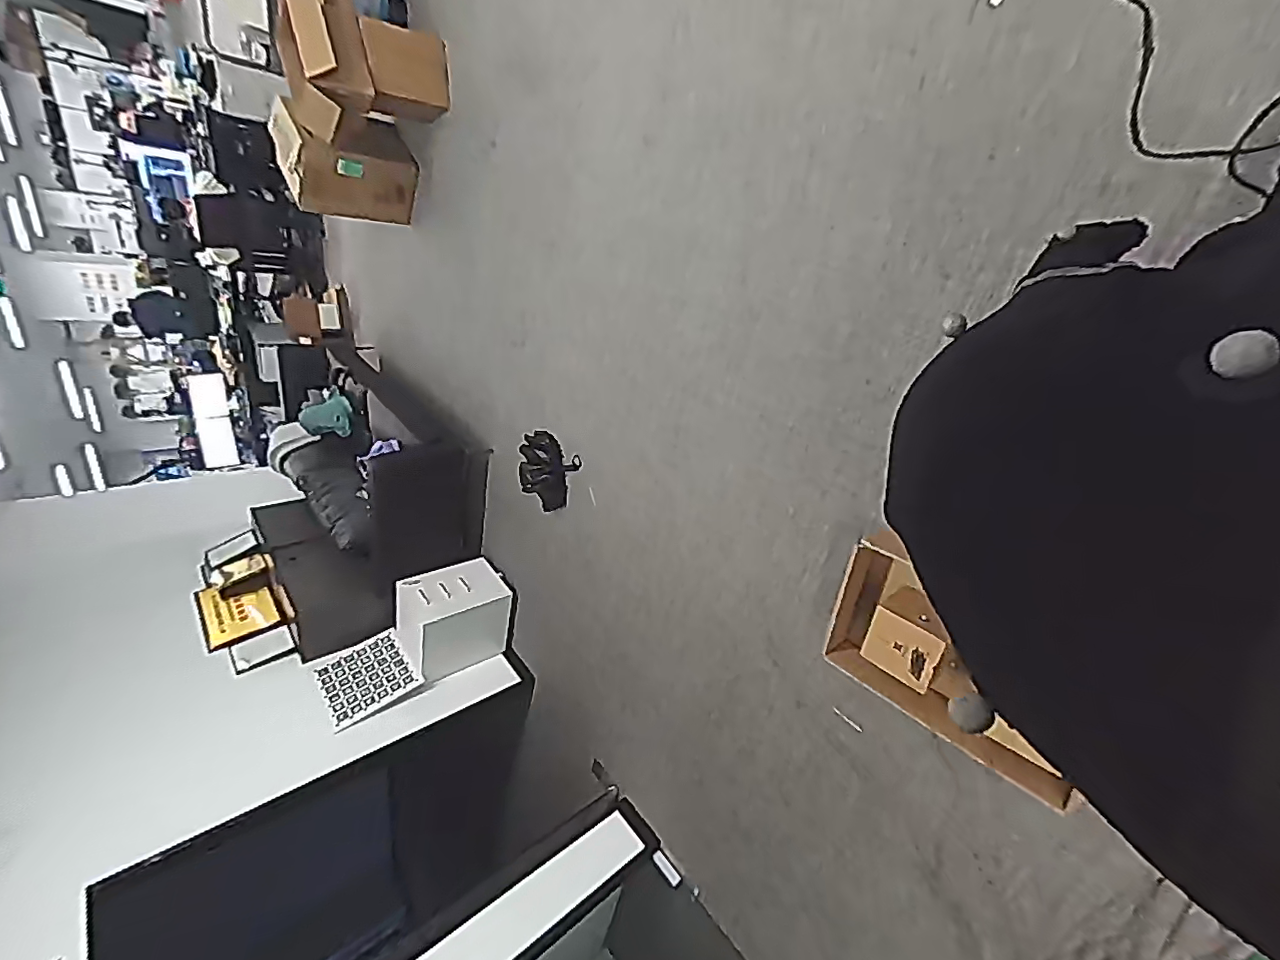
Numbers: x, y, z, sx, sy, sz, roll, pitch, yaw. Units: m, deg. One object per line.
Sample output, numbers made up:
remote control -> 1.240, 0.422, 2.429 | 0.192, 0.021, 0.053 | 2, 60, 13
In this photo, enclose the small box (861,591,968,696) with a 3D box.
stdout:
small box -> 0.715, 0.414, 1.405 | 0.179, 0.176, 0.168 | 31, 122, 41
